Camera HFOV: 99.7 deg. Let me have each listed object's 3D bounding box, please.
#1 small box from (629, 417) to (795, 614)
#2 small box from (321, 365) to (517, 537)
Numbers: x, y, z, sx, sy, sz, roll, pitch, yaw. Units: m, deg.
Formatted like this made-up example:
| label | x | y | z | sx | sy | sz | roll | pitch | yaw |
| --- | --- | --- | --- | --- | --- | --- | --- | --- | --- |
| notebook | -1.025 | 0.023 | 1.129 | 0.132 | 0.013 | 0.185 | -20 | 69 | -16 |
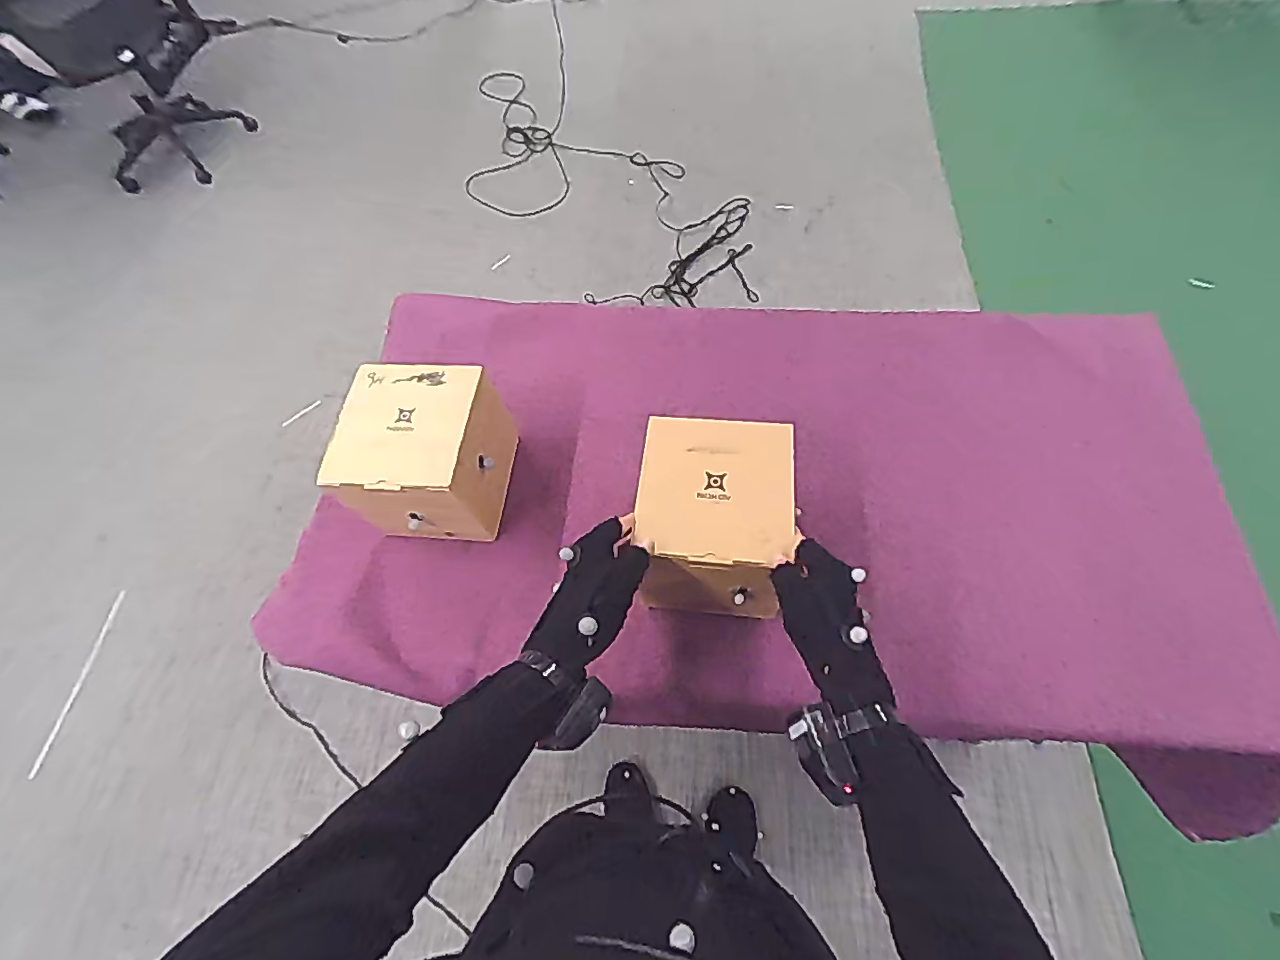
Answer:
| label | x | y | z | sx | sy | sz | roll | pitch | yaw |
| --- | --- | --- | --- | --- | --- | --- | --- | --- | --- |
| small box | 0.088 | 0.047 | 0.644 | 0.168 | 0.176 | 0.179 | 5 | 60 | 8 |
| small box | -0.275 | -0.032 | 0.723 | 0.168 | 0.176 | 0.179 | 3 | 64 | 6 |
